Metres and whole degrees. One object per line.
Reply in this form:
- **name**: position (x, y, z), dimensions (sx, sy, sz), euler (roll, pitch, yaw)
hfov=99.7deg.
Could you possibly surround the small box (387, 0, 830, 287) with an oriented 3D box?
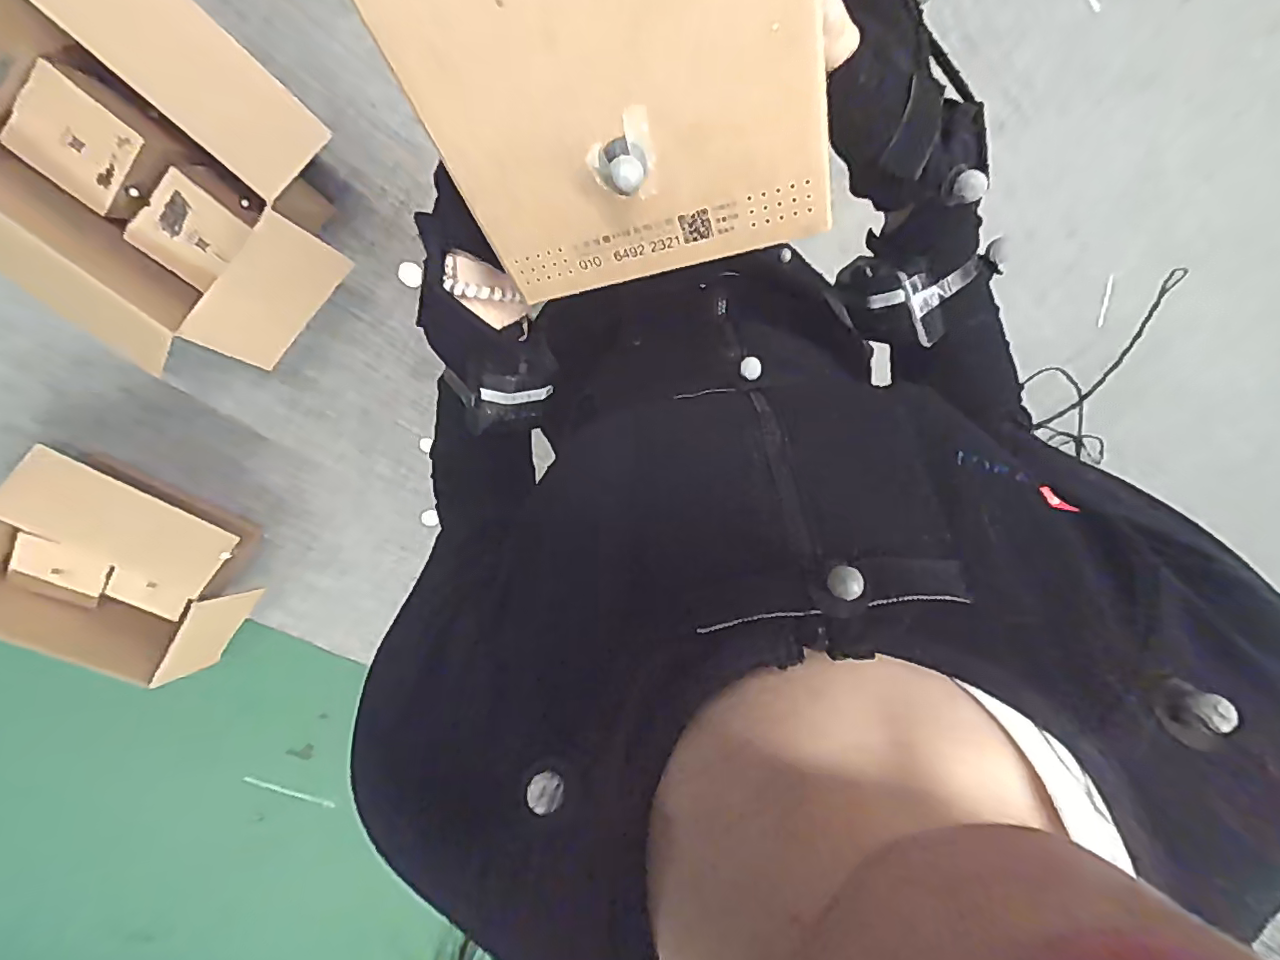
- **small box**: position (-0.003, -0.227, 0.266), dimensions (0.168, 0.179, 0.176), euler (-7, 142, 18)
